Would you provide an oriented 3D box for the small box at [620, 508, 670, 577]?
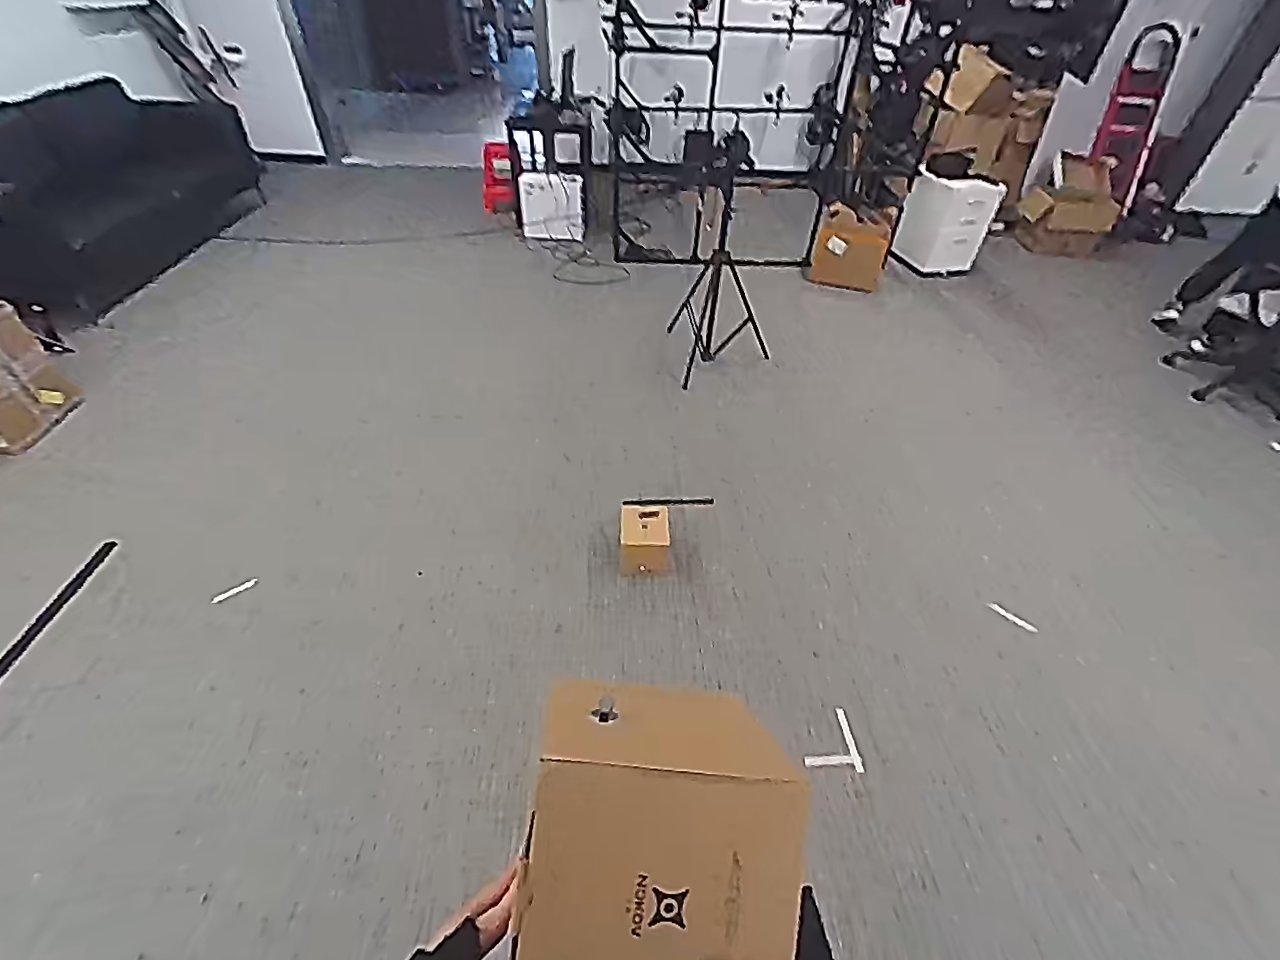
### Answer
[{"bbox_3d":[0.015,0.221,1.910,0.168,0.176,0.179,1,44,-1],"label":"small box"}]

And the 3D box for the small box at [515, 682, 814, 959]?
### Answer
[{"bbox_3d":[0.008,0.265,0.411,0.179,0.176,0.168,7,87,-7],"label":"small box"}]
